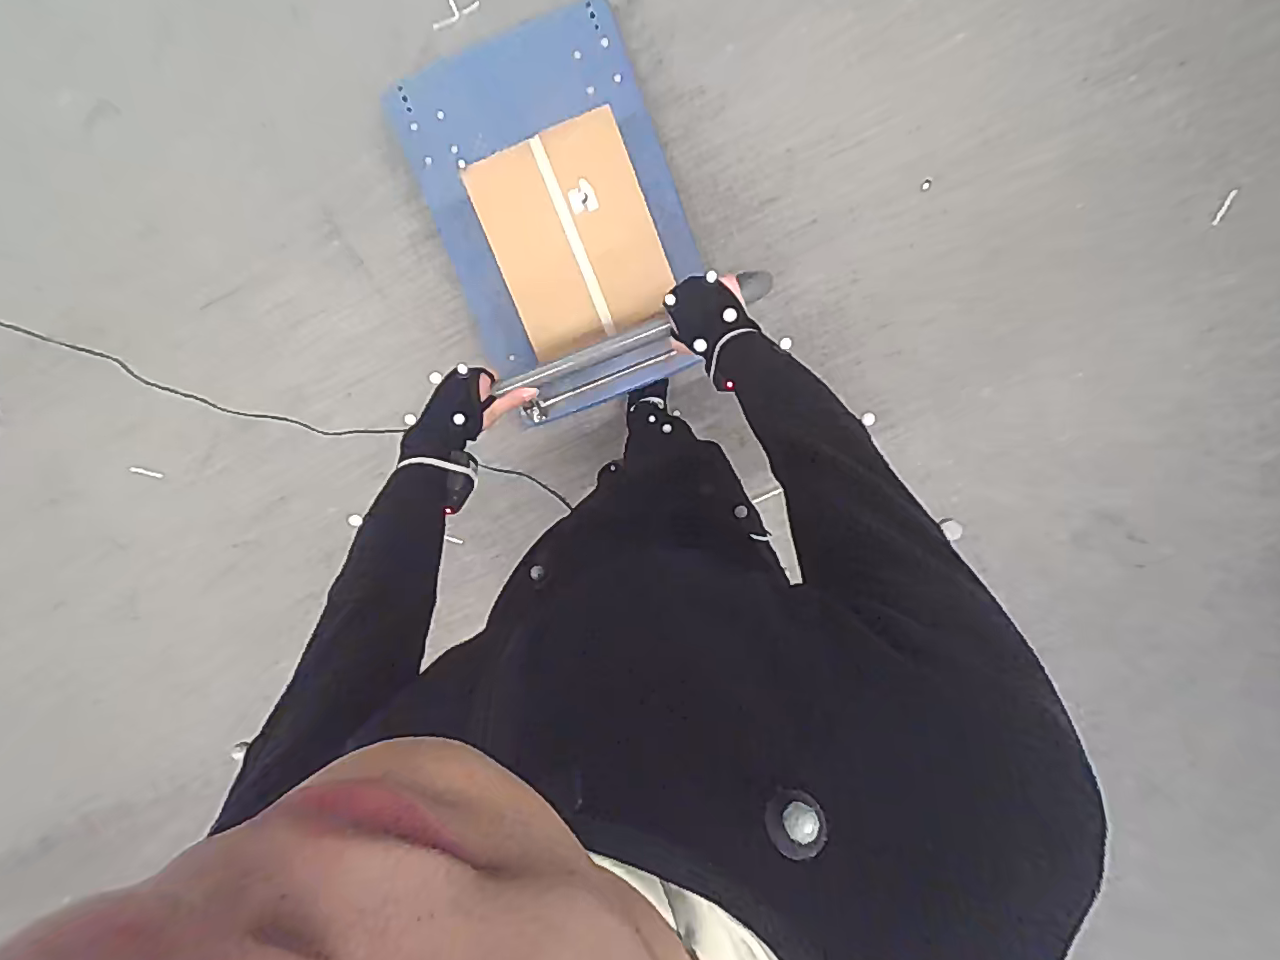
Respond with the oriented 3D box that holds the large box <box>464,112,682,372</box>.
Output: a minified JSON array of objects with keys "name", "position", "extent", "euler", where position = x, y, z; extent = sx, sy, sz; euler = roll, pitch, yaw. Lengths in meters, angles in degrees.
[{"name":"large box","position":[-0.125,-0.489,1.214],"extent":[0.320,0.320,0.408],"euler":[-21,98,3]}]
